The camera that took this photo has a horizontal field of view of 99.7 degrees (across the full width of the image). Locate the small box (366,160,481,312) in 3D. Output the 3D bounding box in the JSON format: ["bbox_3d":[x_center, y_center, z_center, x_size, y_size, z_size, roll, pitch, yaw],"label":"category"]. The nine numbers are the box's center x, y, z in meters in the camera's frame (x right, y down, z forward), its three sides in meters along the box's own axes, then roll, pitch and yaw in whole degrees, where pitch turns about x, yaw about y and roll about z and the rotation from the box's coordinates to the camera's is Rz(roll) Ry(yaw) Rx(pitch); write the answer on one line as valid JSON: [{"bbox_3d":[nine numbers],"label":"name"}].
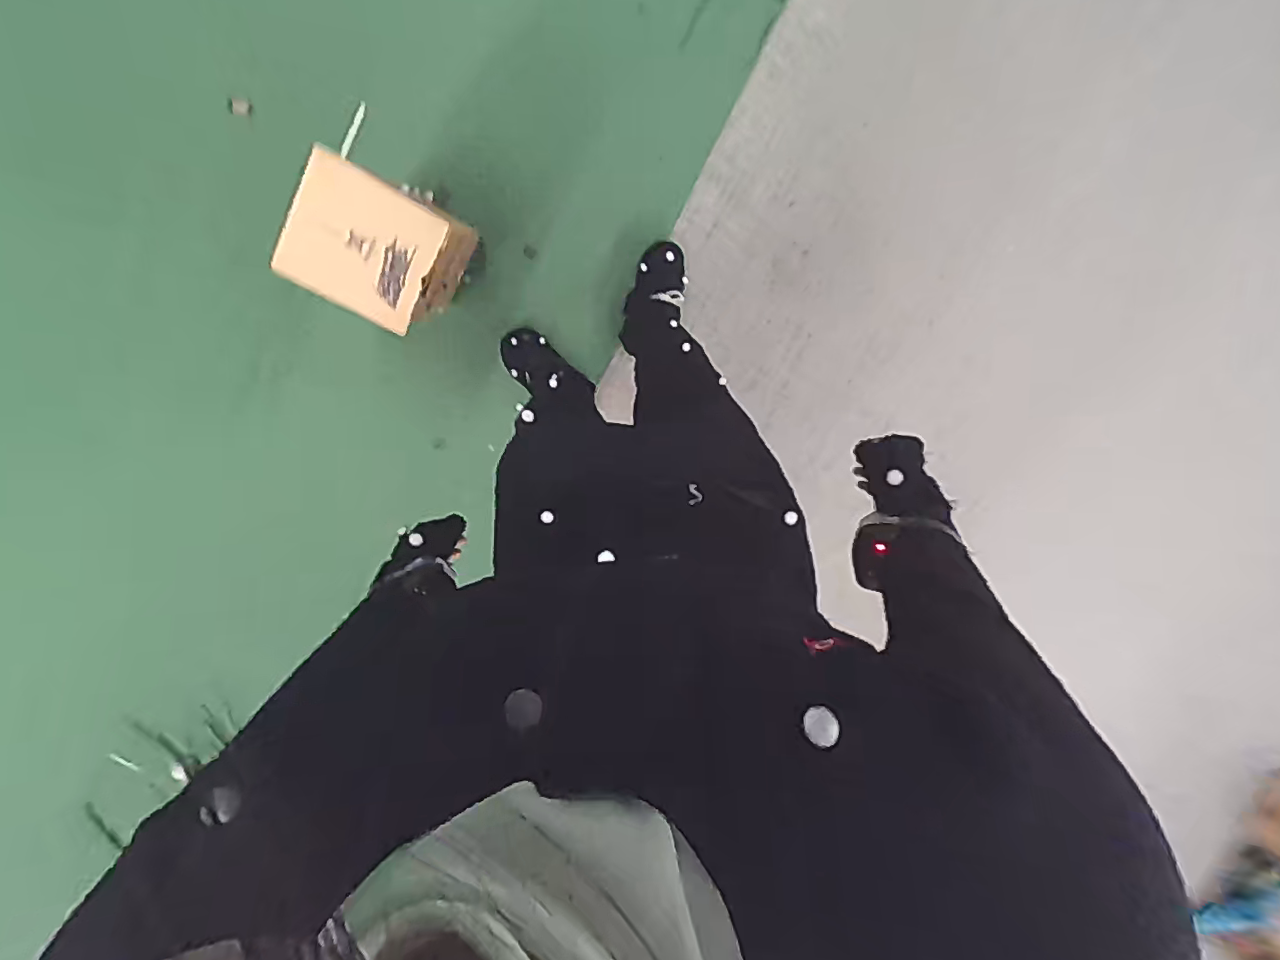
[{"bbox_3d":[-0.393,-0.412,0.935,0.179,0.176,0.168,26,107,-20],"label":"small box"}]

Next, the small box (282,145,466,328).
[{"bbox_3d":[-0.369,-0.346,0.785,0.179,0.176,0.168,25,106,-20],"label":"small box"}]

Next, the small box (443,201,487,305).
[{"bbox_3d":[-0.422,-0.473,1.084,0.179,0.176,0.168,24,107,-22],"label":"small box"}]
